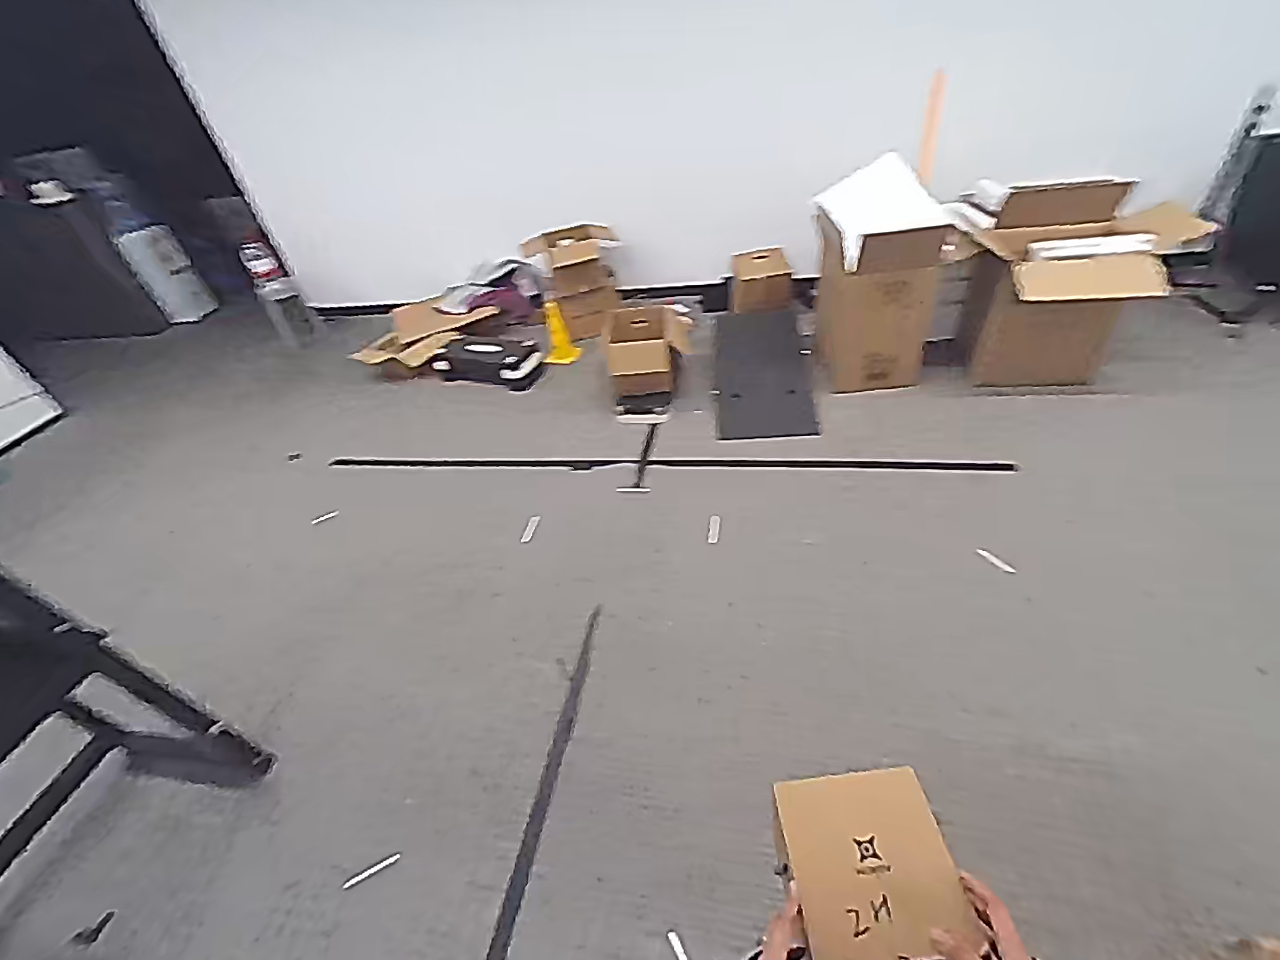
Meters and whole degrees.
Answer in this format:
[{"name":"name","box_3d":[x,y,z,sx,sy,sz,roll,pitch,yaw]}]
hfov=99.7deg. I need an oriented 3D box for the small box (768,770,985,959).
[{"name":"small box","box_3d":[0.245,0.464,0.615,0.168,0.176,0.179,-9,38,3]}]
